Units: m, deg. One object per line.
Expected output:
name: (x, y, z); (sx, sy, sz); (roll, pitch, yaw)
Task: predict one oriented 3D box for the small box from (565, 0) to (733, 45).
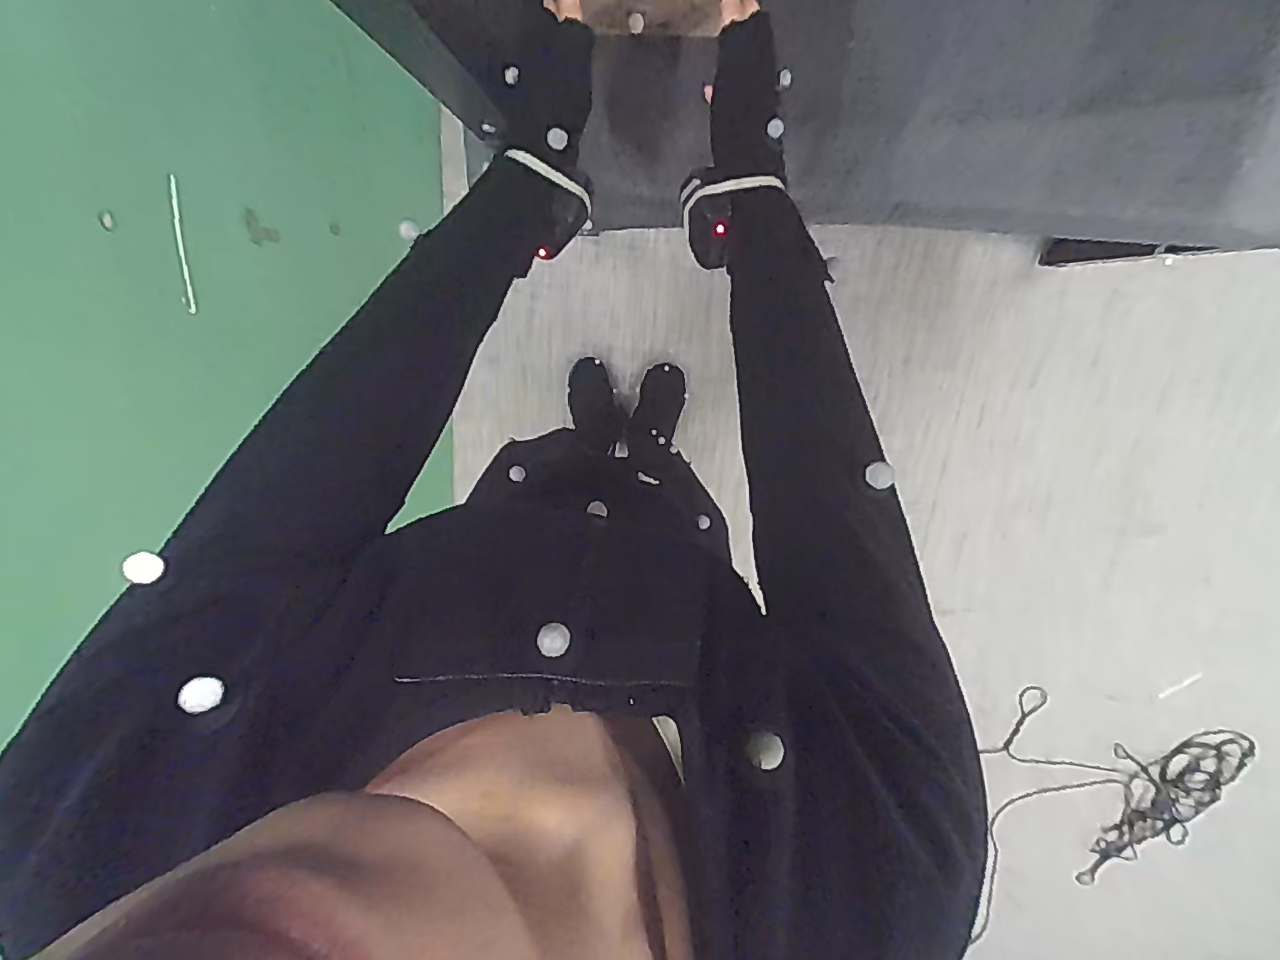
small box: (0.007, -0.521, 0.466); (0.168, 0.176, 0.179); (2, 108, 1)
